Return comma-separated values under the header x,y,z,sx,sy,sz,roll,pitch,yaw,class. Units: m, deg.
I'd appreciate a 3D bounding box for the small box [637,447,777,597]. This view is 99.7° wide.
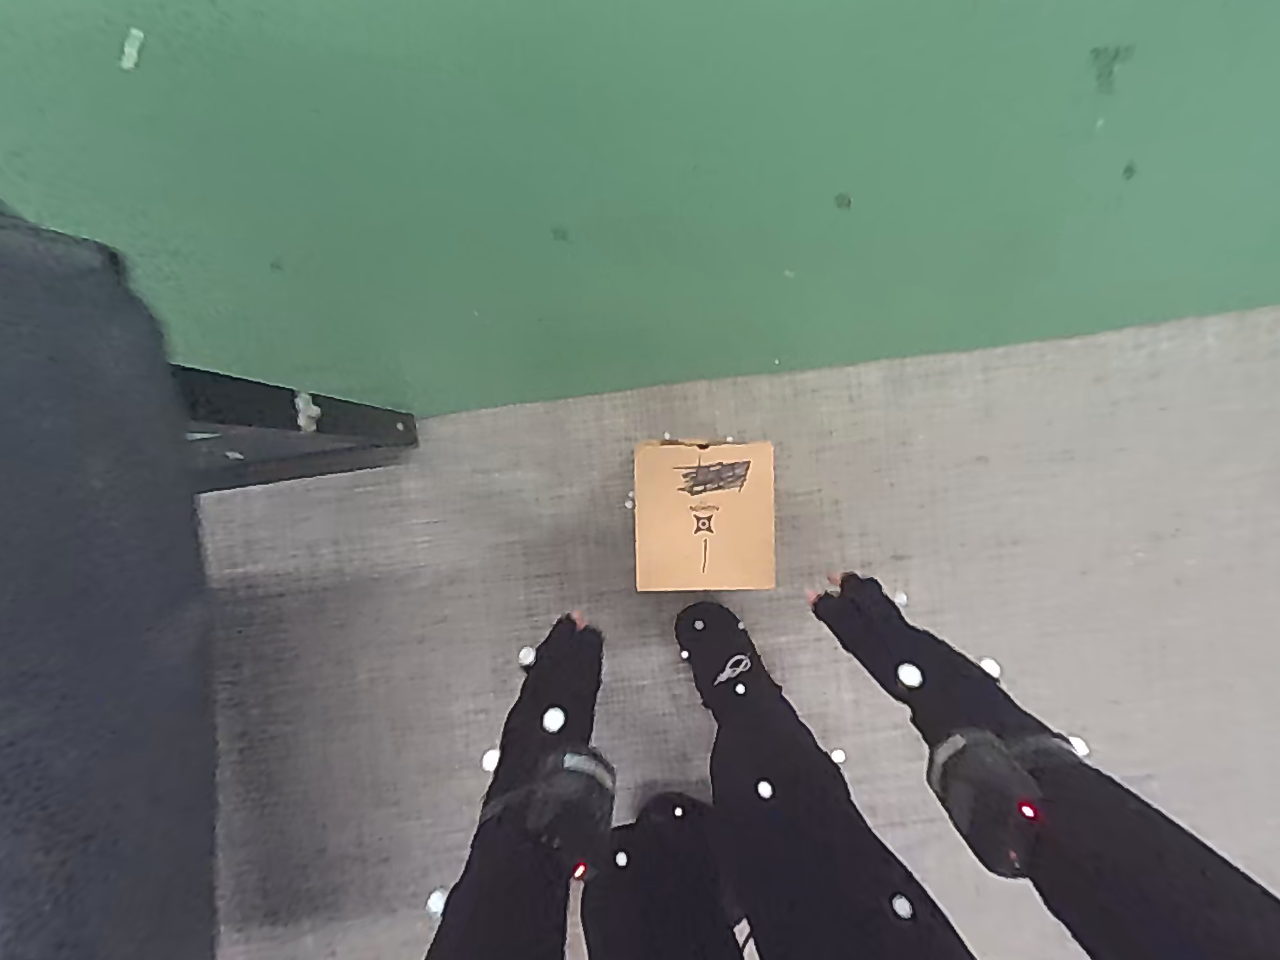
x,y,z,sx,sy,sz,roll,pitch,yaw,class
0.079,0.049,0.711,0.168,0.176,0.179,0,91,2,small box
